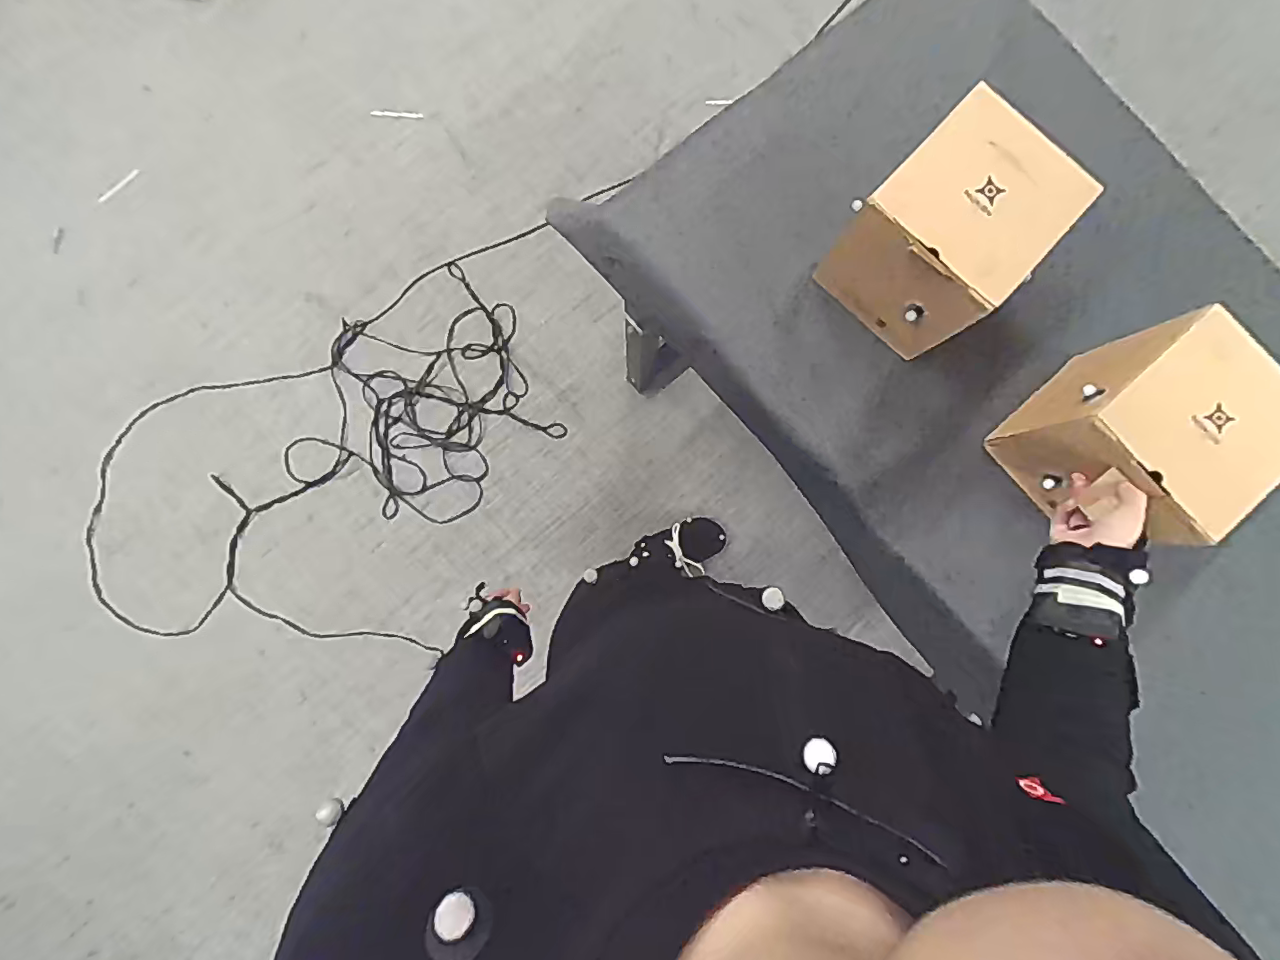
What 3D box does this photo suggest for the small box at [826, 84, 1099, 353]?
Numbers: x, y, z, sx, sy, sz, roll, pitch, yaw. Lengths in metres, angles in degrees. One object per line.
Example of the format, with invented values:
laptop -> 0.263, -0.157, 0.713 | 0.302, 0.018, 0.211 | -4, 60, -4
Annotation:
small box -> 0.337, -0.273, 0.610 | 0.168, 0.176, 0.179 | 42, 84, 1

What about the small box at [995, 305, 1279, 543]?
small box -> 0.549, -0.050, 0.594 | 0.179, 0.176, 0.168 | -42, 87, -4
